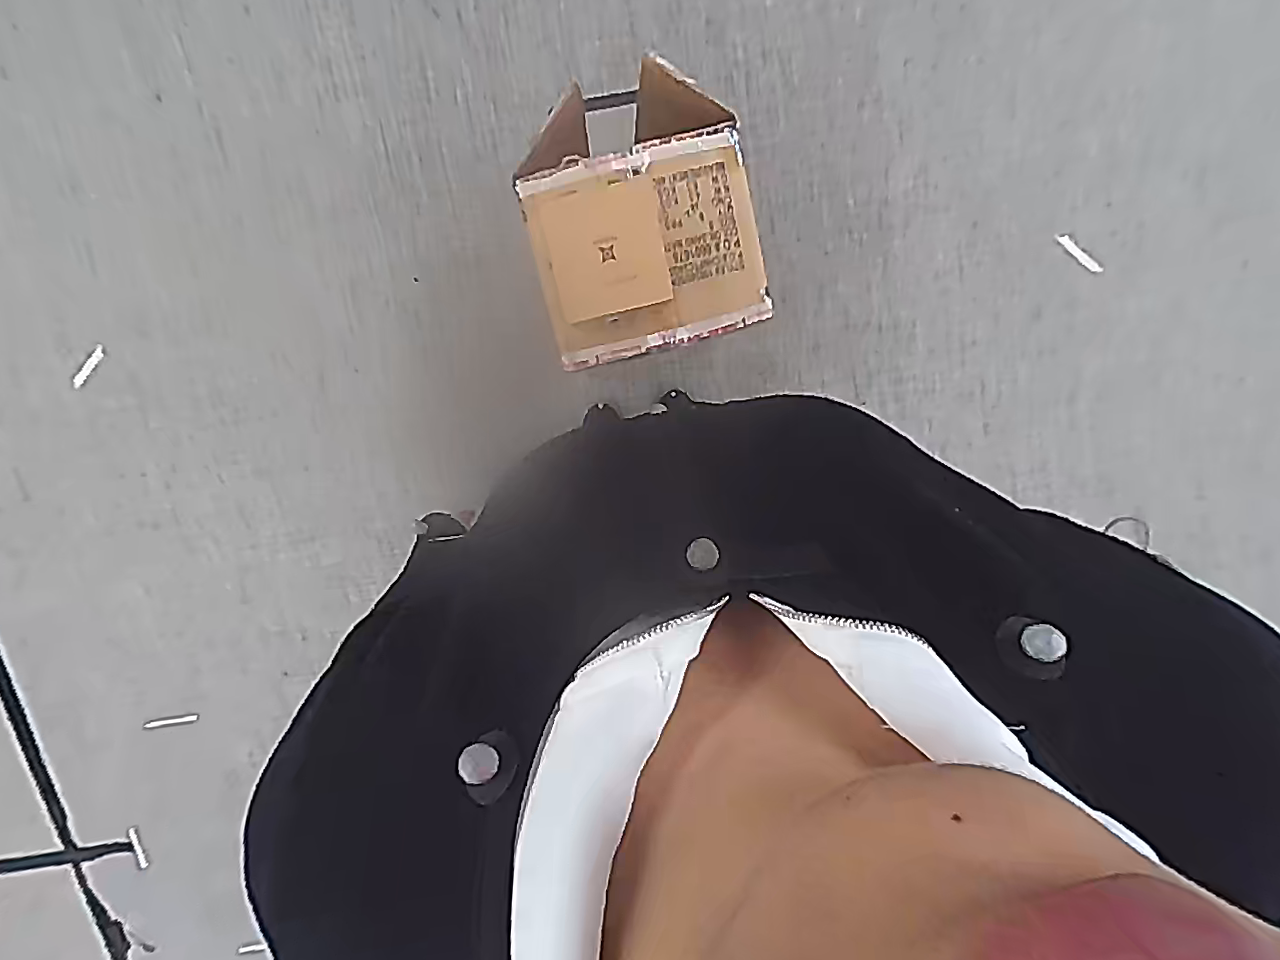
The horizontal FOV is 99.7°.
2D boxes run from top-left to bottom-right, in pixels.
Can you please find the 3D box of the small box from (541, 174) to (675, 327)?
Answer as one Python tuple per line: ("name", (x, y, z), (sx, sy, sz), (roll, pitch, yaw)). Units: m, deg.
("small box", (-0.048, -0.351, 0.858), (0.168, 0.176, 0.179), (-13, 104, 2))
